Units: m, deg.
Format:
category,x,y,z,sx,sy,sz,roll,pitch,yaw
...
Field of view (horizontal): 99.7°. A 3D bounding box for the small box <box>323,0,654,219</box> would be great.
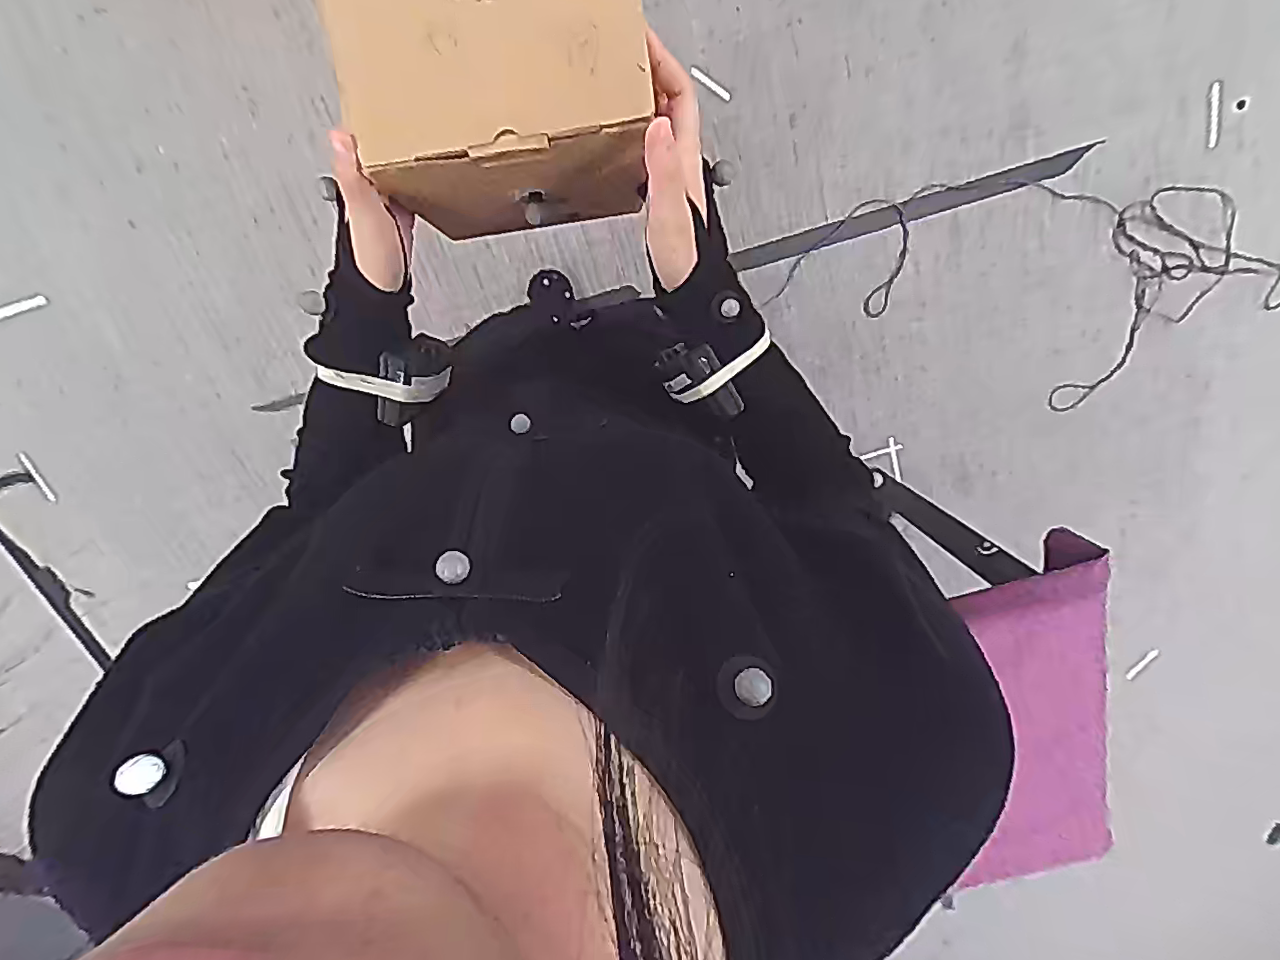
category,x,y,z,sx,sy,sz,roll,pitch,yaw
small box,-0.087,-0.285,0.352,0.168,0.176,0.179,-9,103,-2
